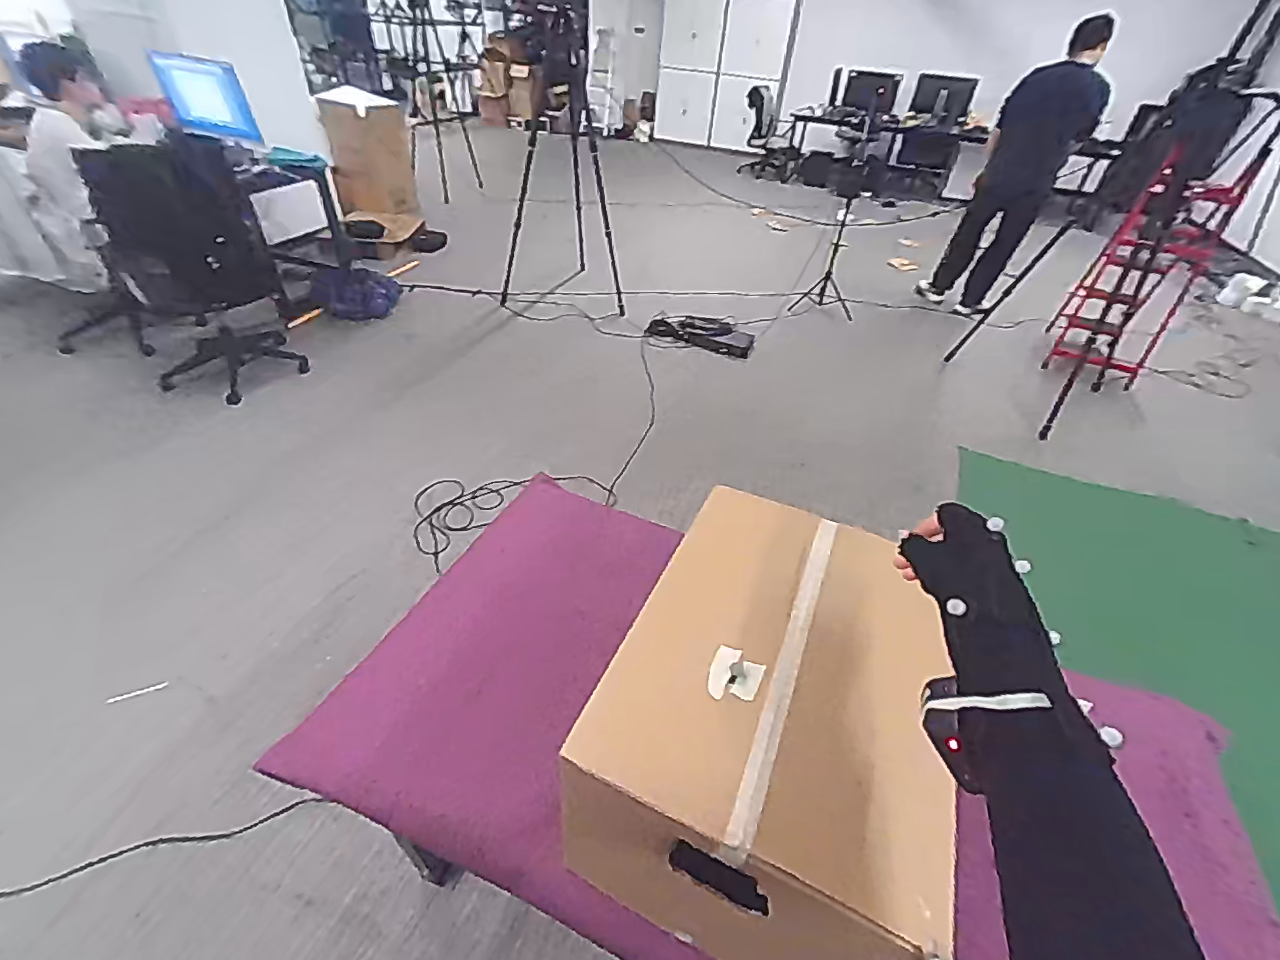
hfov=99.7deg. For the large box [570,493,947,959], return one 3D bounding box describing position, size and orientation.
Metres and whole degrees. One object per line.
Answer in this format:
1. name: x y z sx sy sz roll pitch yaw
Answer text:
1. large box: 0.144 0.291 0.663 0.320 0.320 0.408 20 43 17
